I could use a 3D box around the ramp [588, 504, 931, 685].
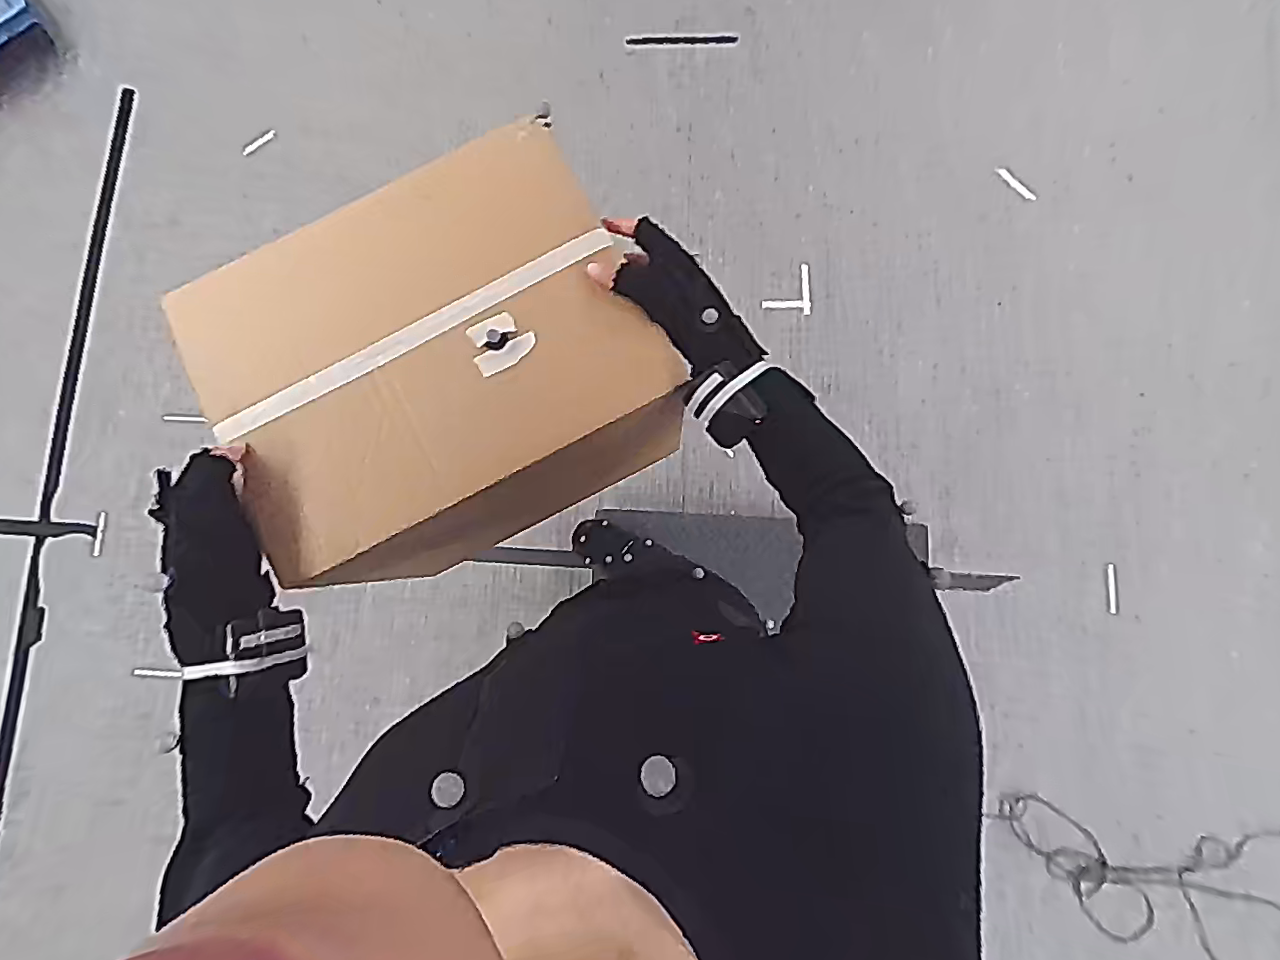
[{"bbox_3d":[0.360,0.328,1.544,0.991,0.206,0.509,0,81,2],"label":"ramp"}]

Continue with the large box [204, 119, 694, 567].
[{"bbox_3d":[-0.185,-0.119,0.662,0.408,0.320,0.320,-27,81,-2],"label":"large box"}]
